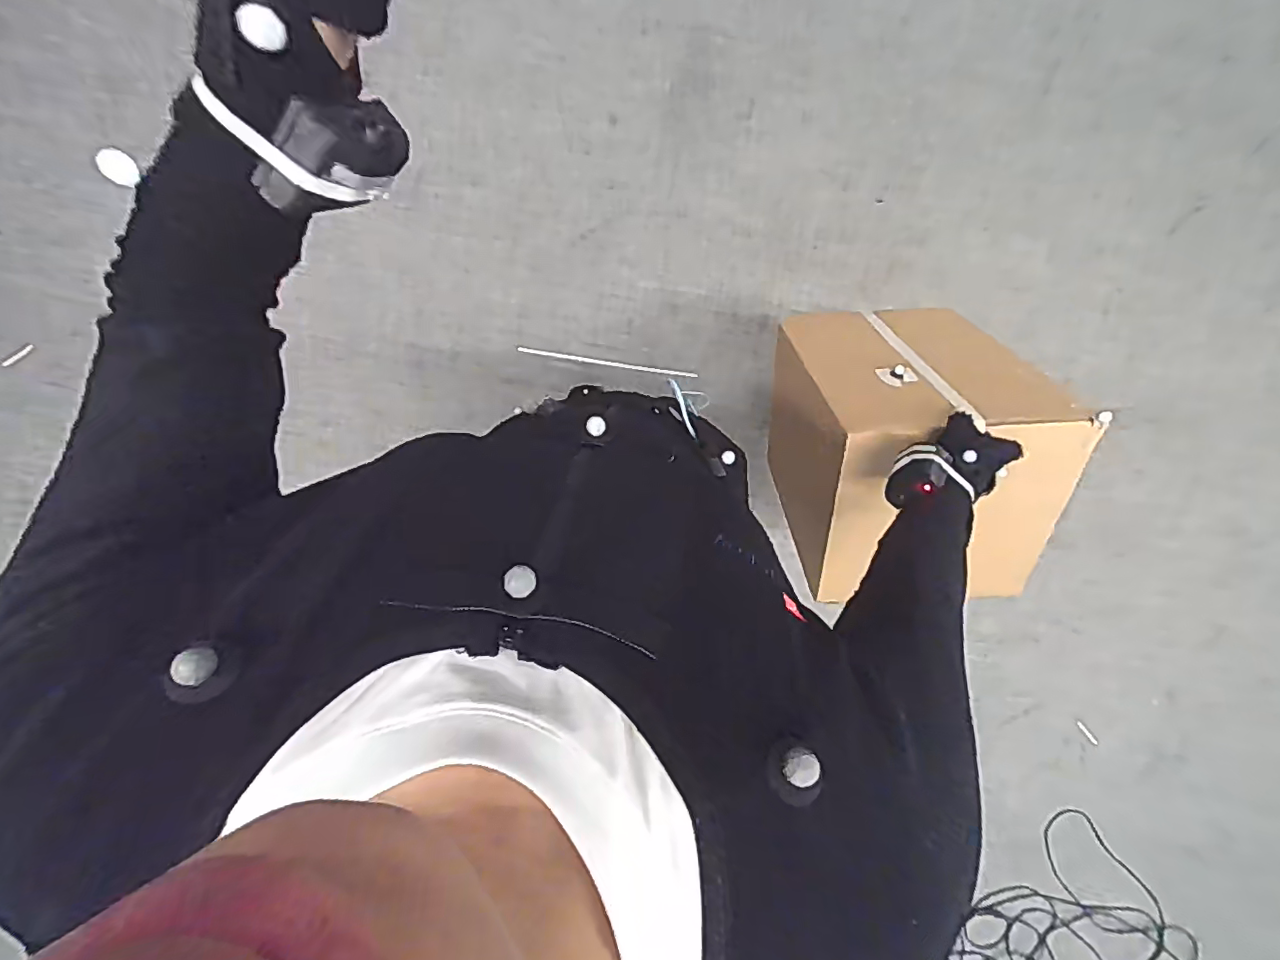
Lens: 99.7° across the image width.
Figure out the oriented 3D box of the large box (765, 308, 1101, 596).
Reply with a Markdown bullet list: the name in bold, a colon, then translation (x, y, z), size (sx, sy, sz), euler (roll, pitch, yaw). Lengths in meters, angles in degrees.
- **large box**: translation (0.416, -0.063, 0.909), size (0.320, 0.408, 0.320), euler (-4, 127, 2)
